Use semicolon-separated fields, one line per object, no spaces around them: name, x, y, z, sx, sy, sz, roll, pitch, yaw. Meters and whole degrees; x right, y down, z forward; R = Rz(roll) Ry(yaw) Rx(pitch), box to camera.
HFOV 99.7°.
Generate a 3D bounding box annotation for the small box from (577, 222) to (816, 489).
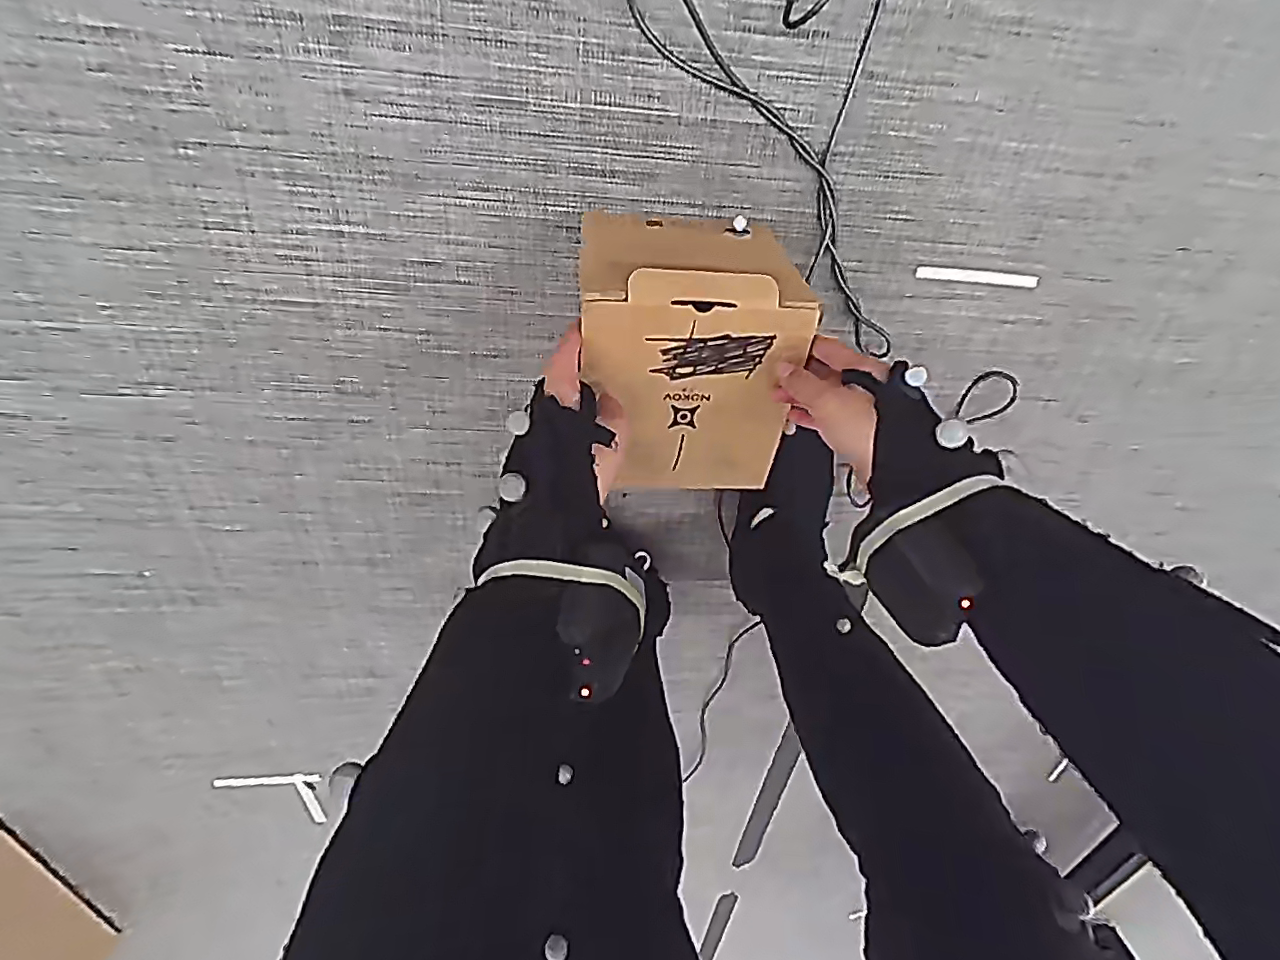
small box;0.029;-0.111;0.478;0.168;0.176;0.179;1;133;-6
